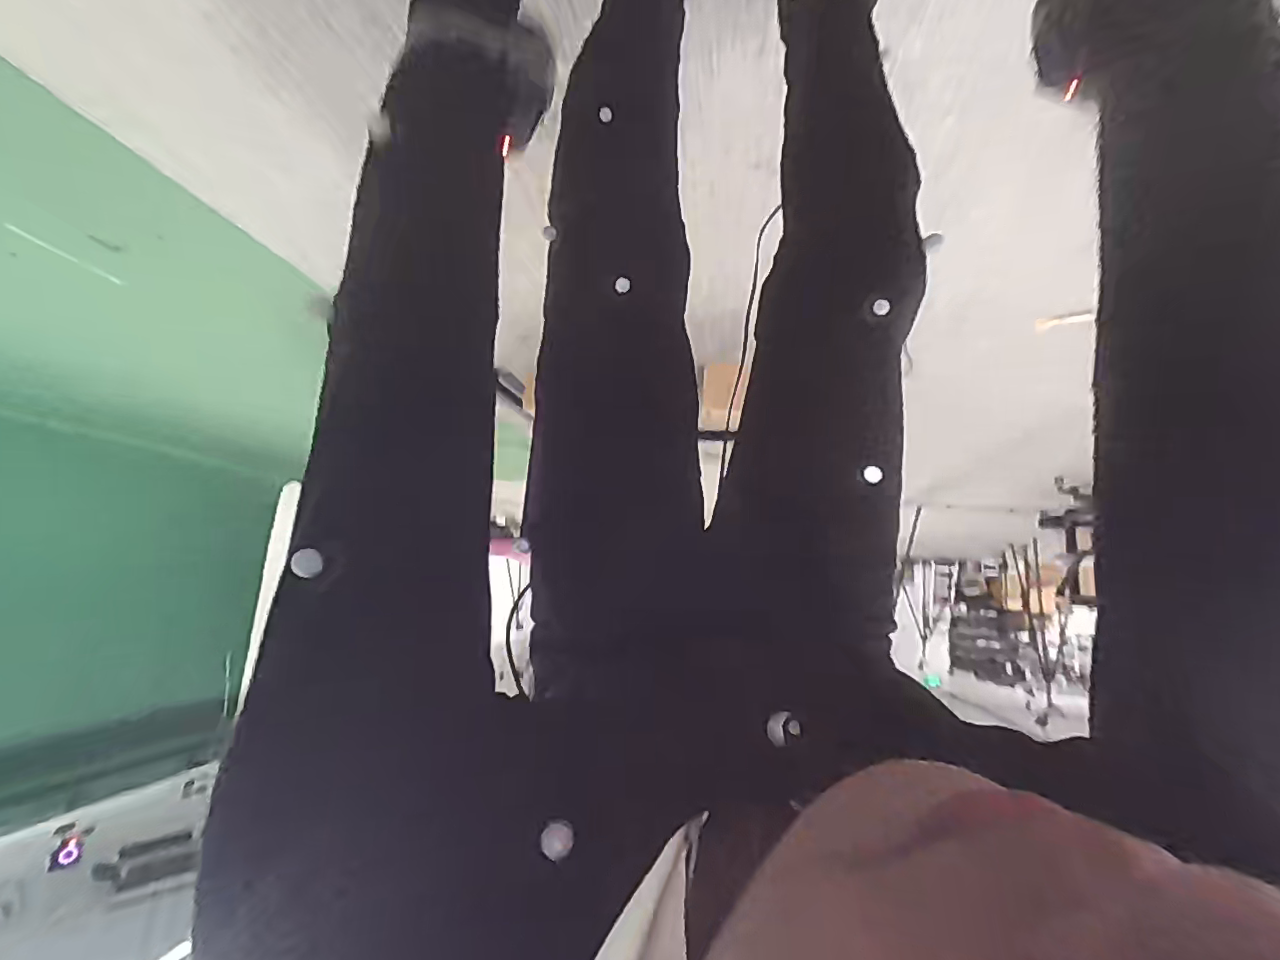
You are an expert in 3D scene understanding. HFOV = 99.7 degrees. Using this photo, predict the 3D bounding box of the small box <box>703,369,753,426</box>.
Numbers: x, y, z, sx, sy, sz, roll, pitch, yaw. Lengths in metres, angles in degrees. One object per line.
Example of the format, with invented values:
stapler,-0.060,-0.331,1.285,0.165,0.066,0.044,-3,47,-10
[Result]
small box,0.323,-0.304,1.993,0.179,0.176,0.168,2,169,8

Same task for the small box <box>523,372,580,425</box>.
small box,-0.348,-0.323,2.142,0.168,0.176,0.179,2,170,14
